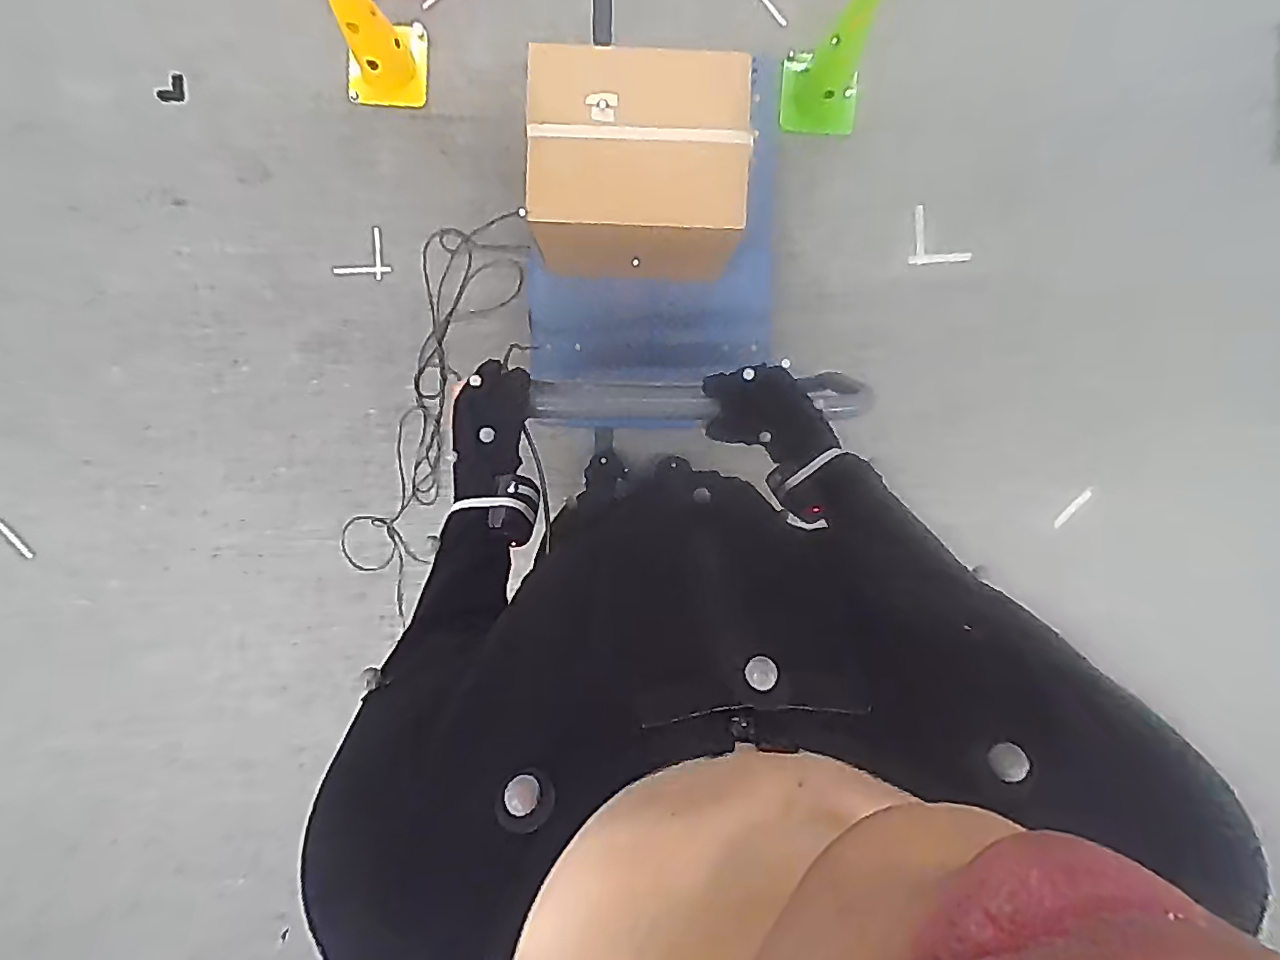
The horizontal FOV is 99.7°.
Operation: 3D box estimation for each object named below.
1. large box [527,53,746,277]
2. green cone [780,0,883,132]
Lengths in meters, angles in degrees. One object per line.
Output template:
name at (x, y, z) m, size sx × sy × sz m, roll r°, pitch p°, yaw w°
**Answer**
large box at (-0.005, -0.626, 1.133) m, size 0.408 × 0.320 × 0.320 m, roll 2°, pitch 93°, yaw 0°
green cone at (0.479, -1.024, 1.265) m, size 0.202 × 0.368 × 0.200 m, roll 3°, pitch 93°, yaw -2°
